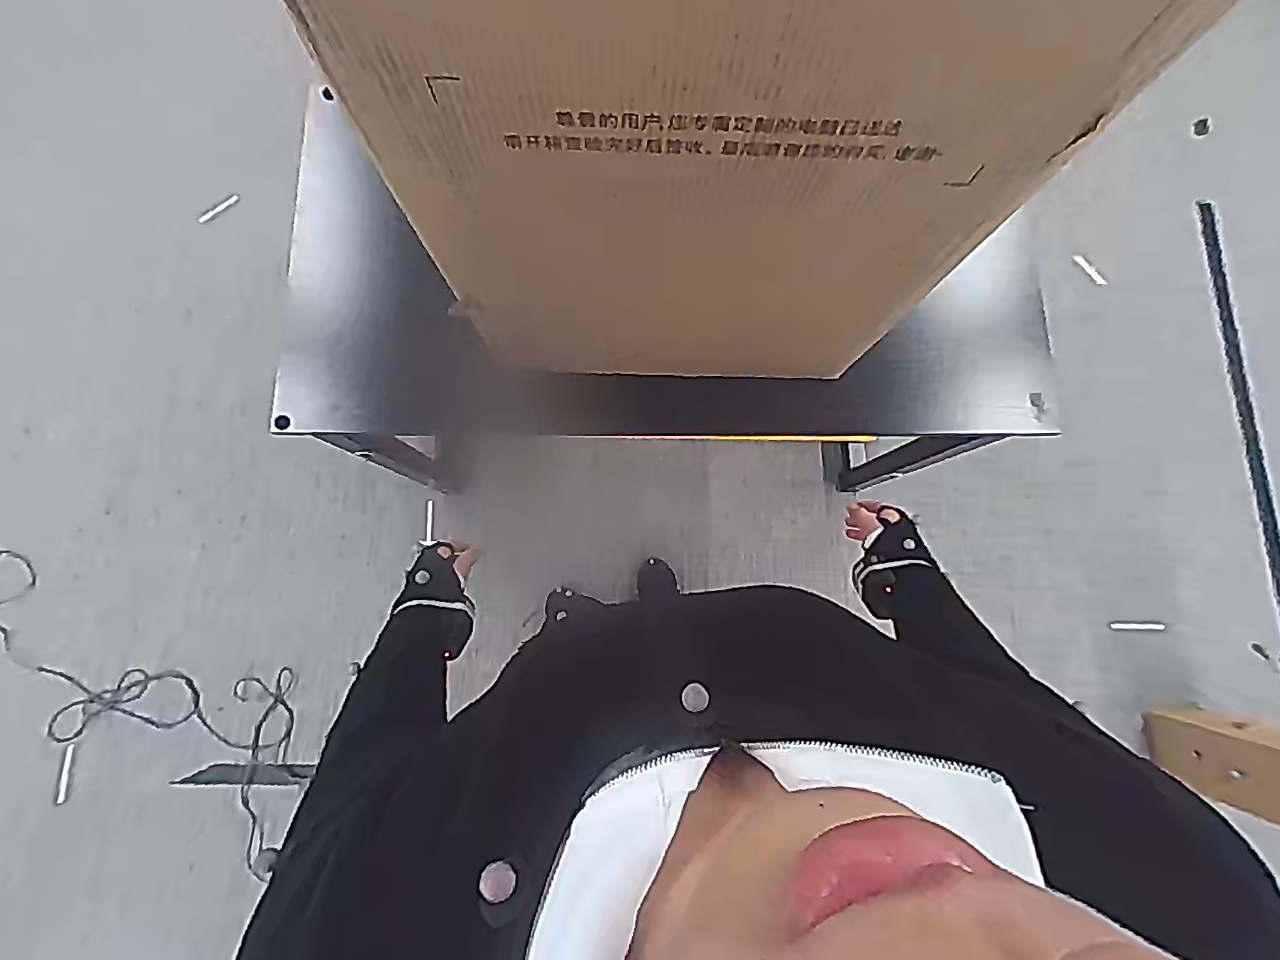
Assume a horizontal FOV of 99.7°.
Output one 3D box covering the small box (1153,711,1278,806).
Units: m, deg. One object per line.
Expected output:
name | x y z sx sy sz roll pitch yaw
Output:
small box | 1.468 0.697 1.375 0.168 0.176 0.179 -3 81 -2

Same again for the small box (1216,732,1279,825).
small box | 1.472 0.674 1.212 0.179 0.176 0.168 0 80 -1
